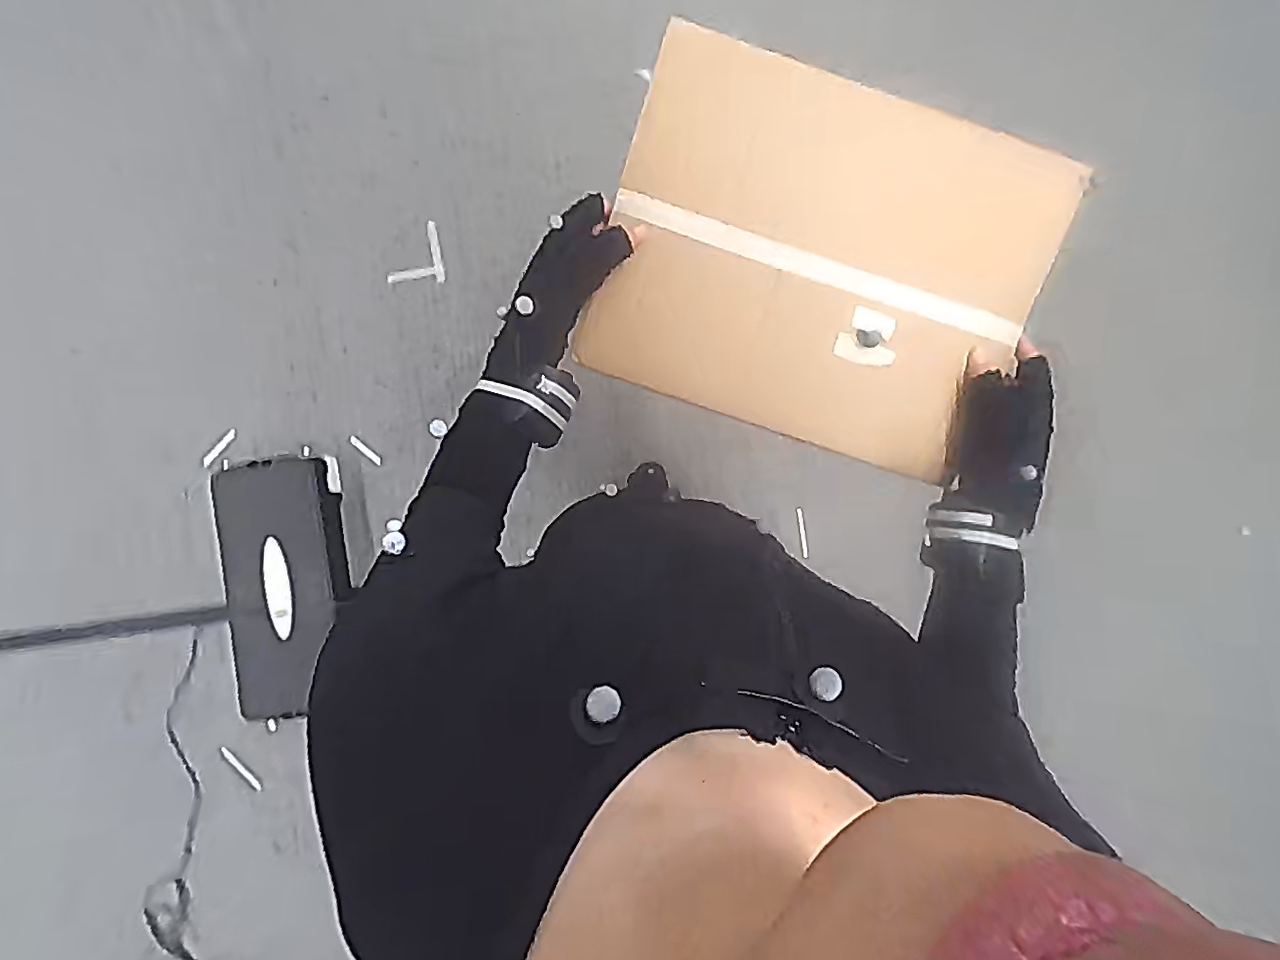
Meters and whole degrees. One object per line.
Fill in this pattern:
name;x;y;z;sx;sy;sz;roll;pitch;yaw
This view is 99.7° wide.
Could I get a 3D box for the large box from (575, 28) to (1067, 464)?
large box;0.164;-0.238;0.662;0.408;0.320;0.320;16;102;-3
